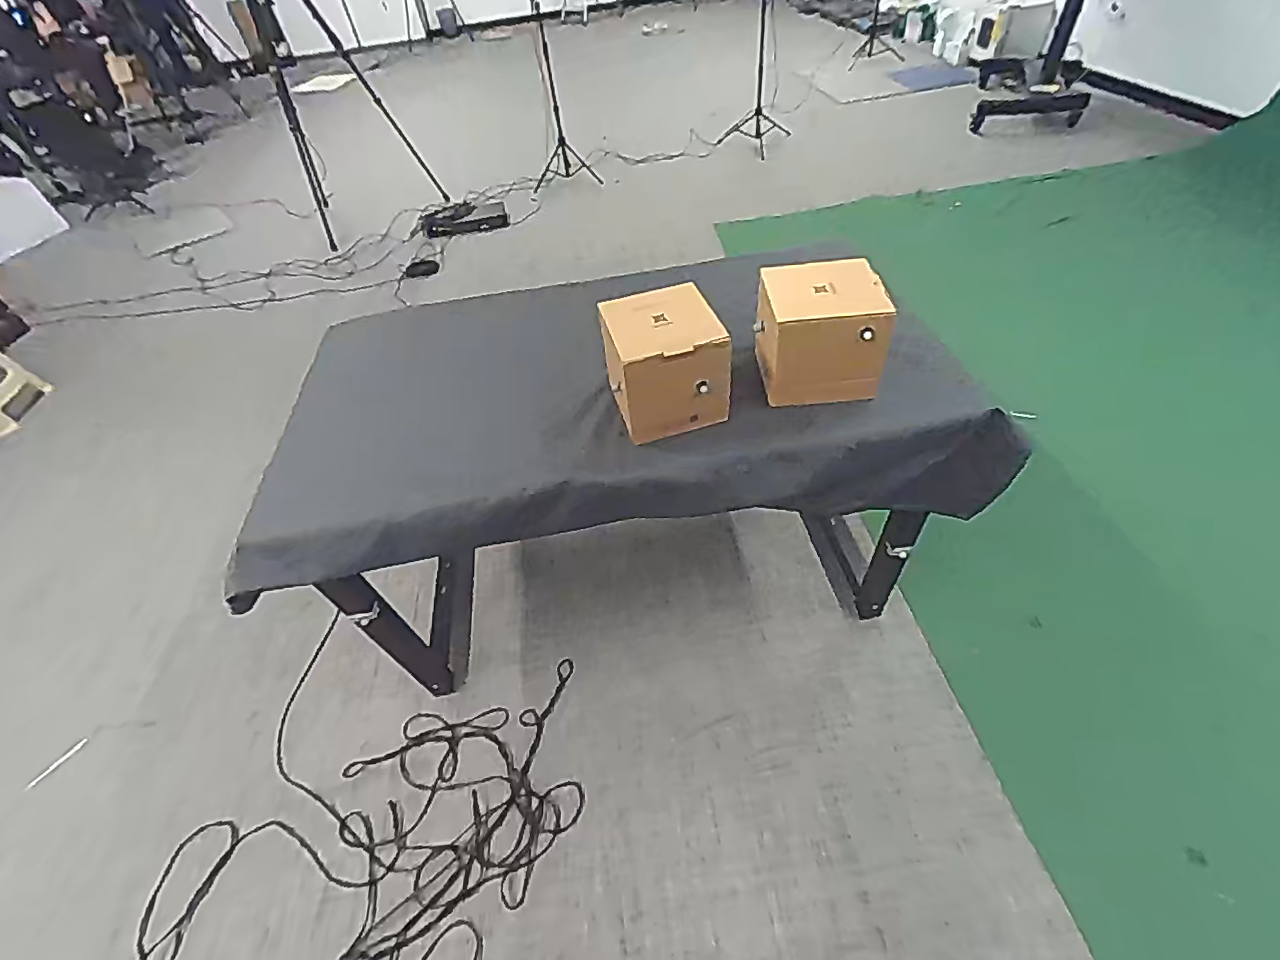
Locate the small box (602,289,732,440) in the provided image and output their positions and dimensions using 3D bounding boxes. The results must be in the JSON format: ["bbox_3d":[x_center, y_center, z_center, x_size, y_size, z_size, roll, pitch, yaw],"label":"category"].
[{"bbox_3d":[0.044,-0.183,0.890,0.168,0.176,0.179,-14,47,-7],"label":"small box"}]

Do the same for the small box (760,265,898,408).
[{"bbox_3d":[0.298,-0.234,0.902,0.179,0.176,0.168,-4,48,3],"label":"small box"}]
